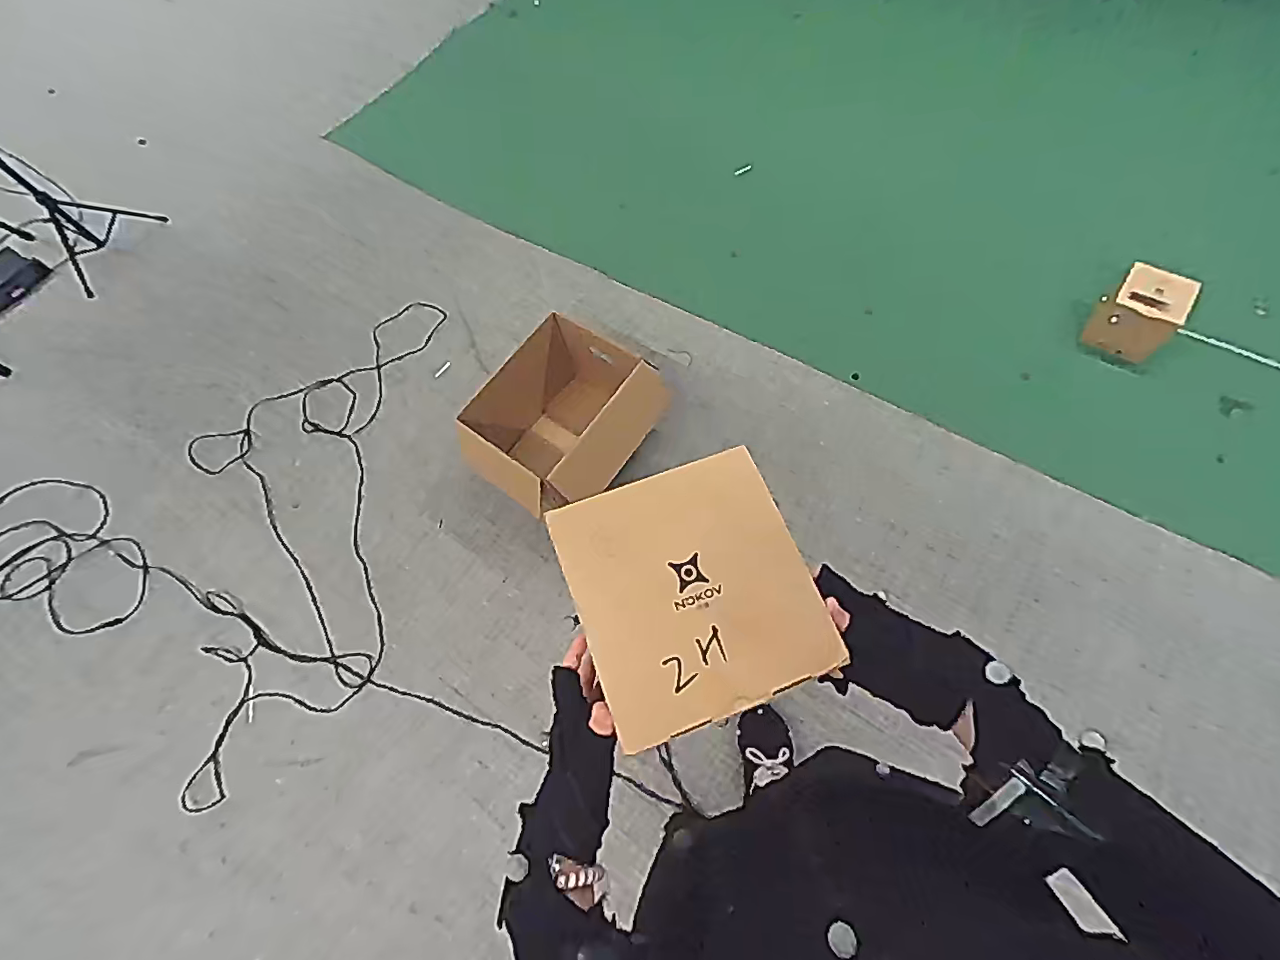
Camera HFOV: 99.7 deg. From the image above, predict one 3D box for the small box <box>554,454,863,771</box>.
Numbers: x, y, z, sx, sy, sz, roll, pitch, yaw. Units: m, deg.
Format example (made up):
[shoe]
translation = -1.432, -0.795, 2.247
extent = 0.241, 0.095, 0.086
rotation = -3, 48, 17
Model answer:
[small box]
translation = 0.039, 0.109, 0.443
extent = 0.168, 0.176, 0.179
rotation = -19, 71, -8
